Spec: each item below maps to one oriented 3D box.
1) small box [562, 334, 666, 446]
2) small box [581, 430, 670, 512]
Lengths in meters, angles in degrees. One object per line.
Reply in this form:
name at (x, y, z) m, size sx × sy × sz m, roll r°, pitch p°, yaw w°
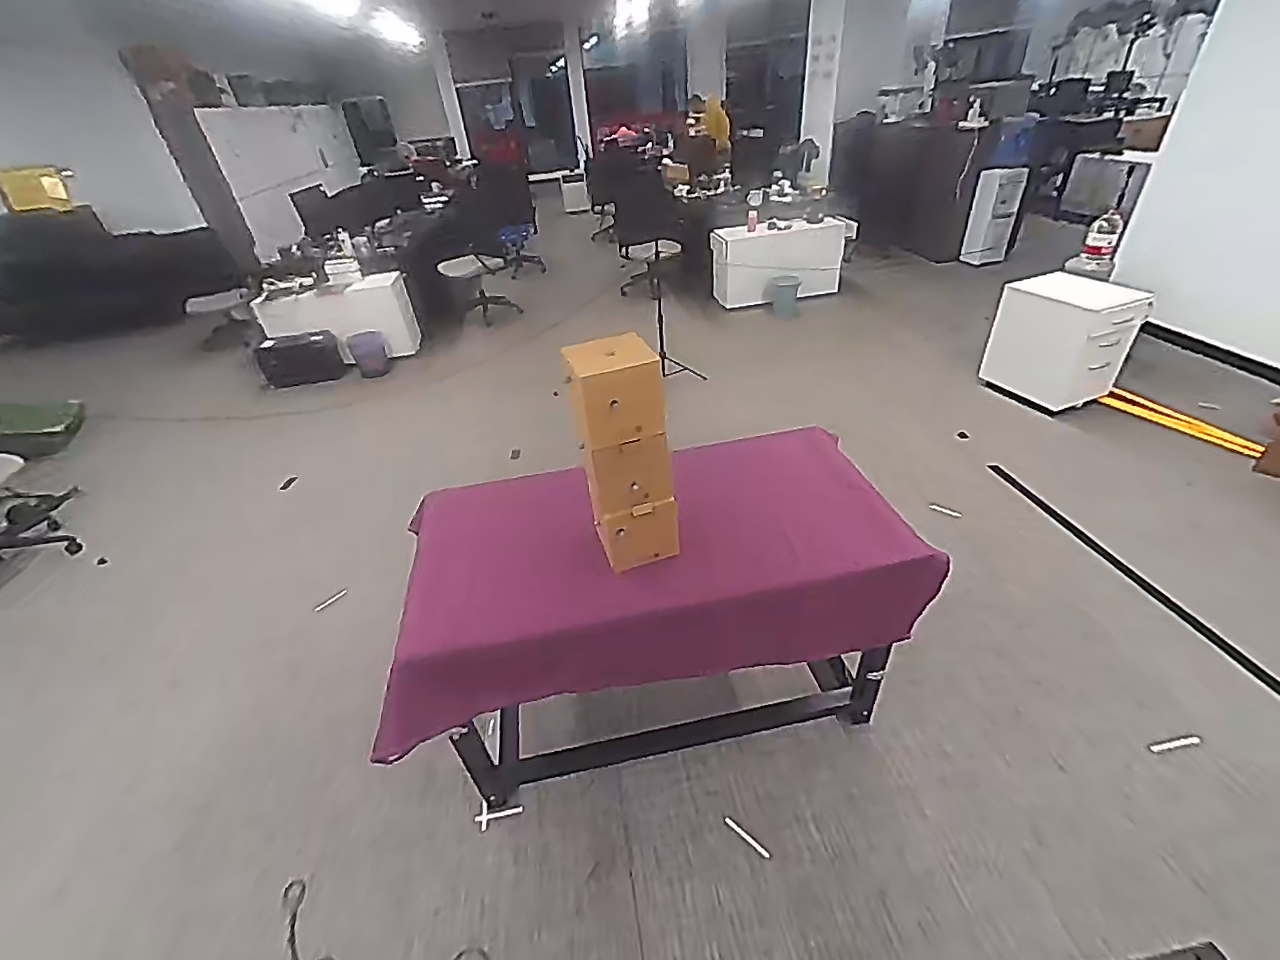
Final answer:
small box at (-0.053, -0.183, 1.132) m, size 0.168 × 0.176 × 0.179 m, roll -15°, pitch 35°, yaw -12°
small box at (-0.036, -0.053, 1.228) m, size 0.168 × 0.176 × 0.179 m, roll -14°, pitch 36°, yaw -10°
